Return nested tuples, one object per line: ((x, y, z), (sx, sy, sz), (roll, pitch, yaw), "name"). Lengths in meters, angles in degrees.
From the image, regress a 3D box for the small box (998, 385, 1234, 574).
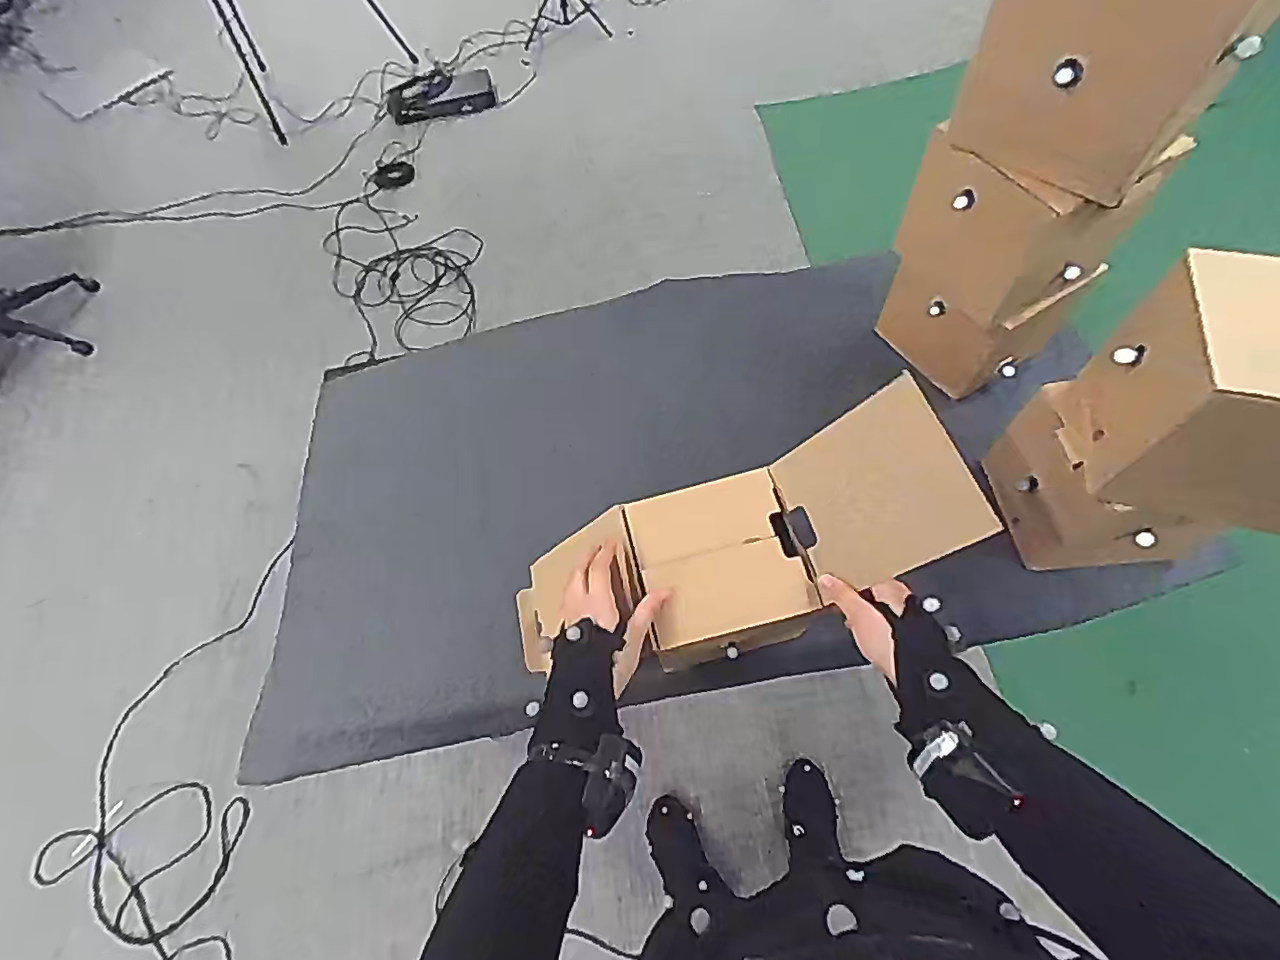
((0.554, 0.002, 0.628), (0.179, 0.176, 0.168), (-6, 60, 5), "small box")

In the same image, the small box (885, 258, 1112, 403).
((0.483, -0.244, 0.765), (0.168, 0.176, 0.179), (-31, 65, -6), "small box")

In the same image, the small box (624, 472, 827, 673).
((0.091, 0.116, 0.630), (0.179, 0.176, 0.168), (-15, 63, 1), "small box")

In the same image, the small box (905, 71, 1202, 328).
((0.442, -0.312, 0.620), (0.168, 0.176, 0.179), (-28, 64, -4), "small box")

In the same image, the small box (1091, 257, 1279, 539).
((0.540, -0.066, 0.479), (0.179, 0.176, 0.168), (14, 63, 14), "small box")
